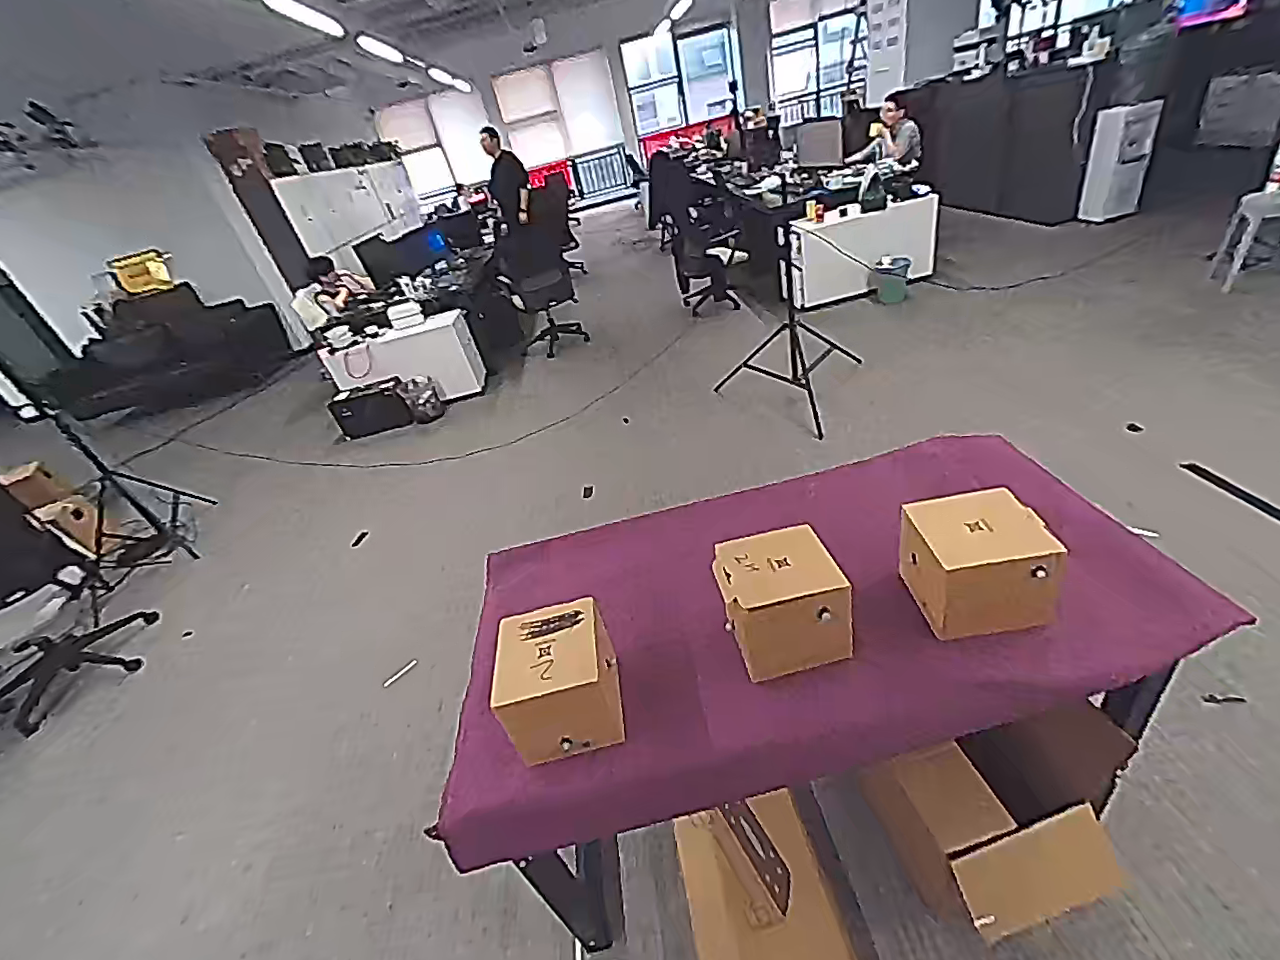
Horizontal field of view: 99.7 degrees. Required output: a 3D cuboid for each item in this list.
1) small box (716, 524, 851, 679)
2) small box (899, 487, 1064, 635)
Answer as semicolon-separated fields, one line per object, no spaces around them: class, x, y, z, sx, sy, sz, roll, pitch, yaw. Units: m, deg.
small box;0.242;0.206;0.923;0.179;0.176;0.168;-15;31;0
small box;0.552;0.137;0.902;0.179;0.176;0.168;-11;33;6
